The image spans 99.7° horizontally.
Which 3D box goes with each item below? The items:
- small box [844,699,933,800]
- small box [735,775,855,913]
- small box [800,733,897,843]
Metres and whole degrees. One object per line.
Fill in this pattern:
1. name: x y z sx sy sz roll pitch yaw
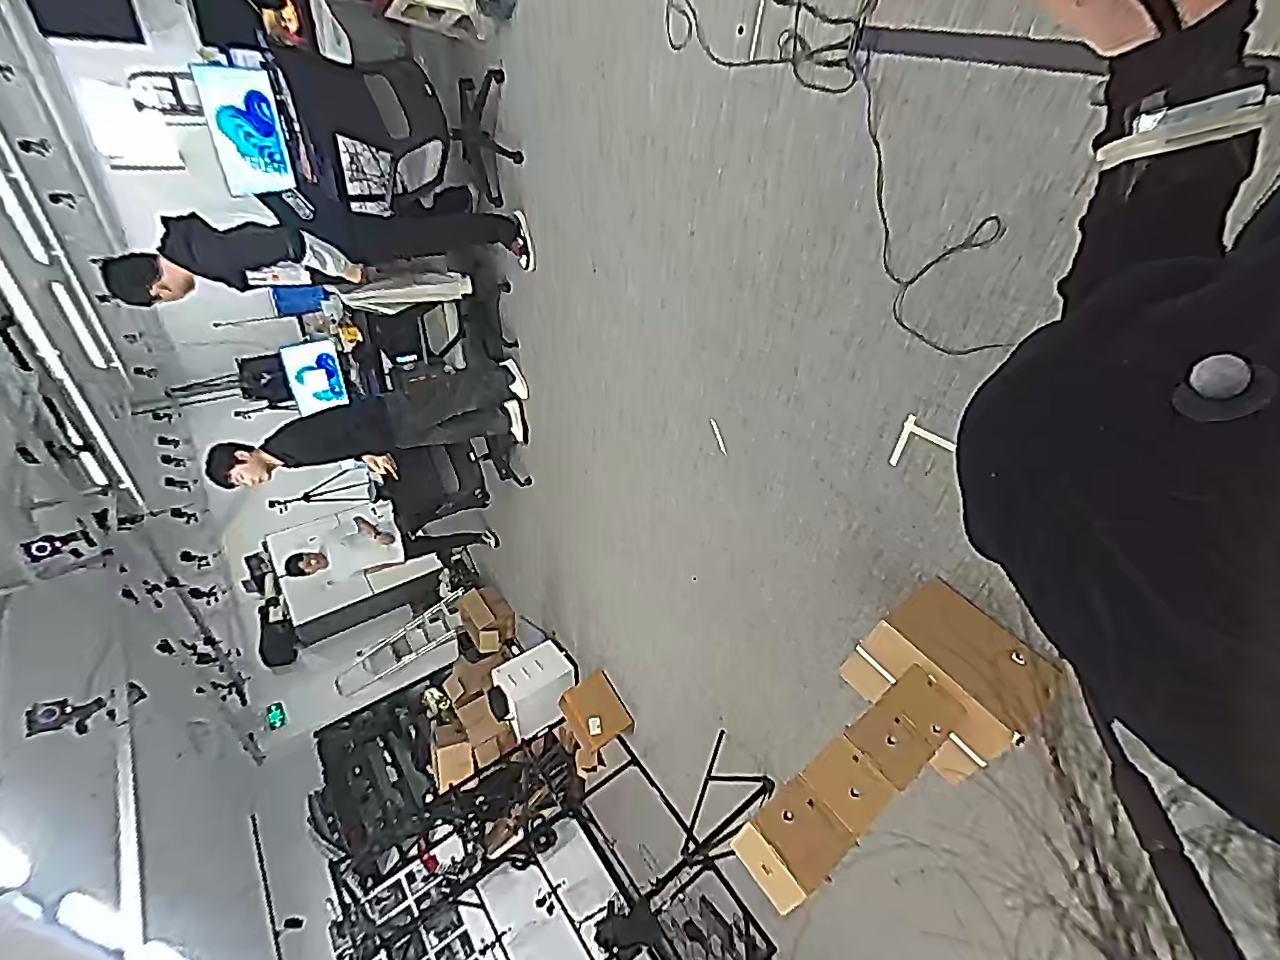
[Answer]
1. small box: 0.597 0.686 1.356 0.168 0.176 0.179 45 141 32
2. small box: 0.340 0.790 1.186 0.168 0.176 0.179 44 143 35
3. small box: 0.468 0.734 1.269 0.168 0.176 0.179 43 141 33
